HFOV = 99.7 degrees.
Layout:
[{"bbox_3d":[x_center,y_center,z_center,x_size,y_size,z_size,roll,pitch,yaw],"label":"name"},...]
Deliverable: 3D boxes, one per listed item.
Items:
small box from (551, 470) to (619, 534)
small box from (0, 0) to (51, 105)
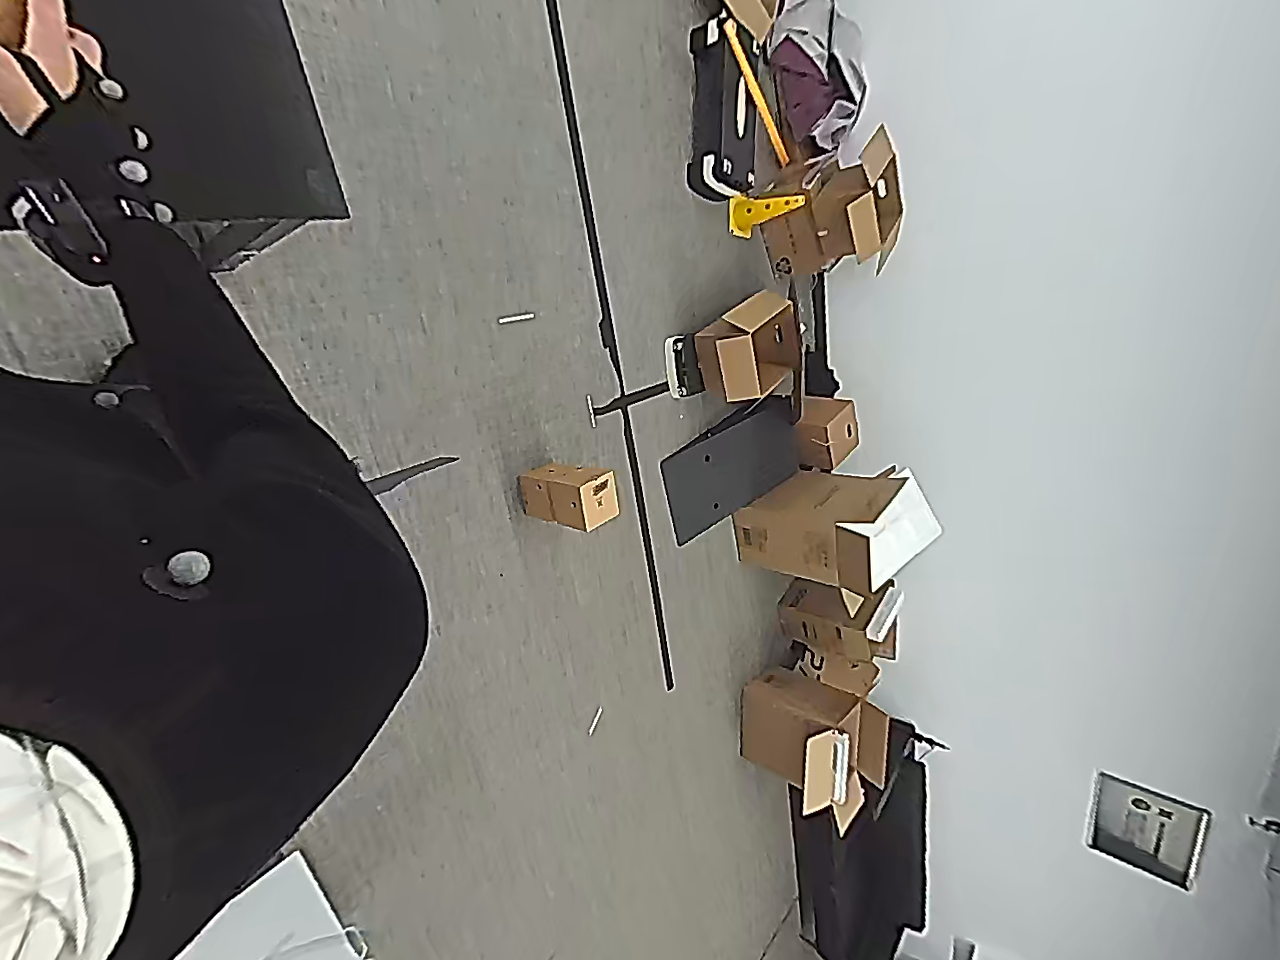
[{"bbox_3d":[-0.199,0.071,1.932,0.168,0.176,0.179,-28,118,-42],"label":"small box"},{"bbox_3d":[-0.560,-0.398,0.376,0.168,0.176,0.179,-17,117,-50],"label":"small box"}]
